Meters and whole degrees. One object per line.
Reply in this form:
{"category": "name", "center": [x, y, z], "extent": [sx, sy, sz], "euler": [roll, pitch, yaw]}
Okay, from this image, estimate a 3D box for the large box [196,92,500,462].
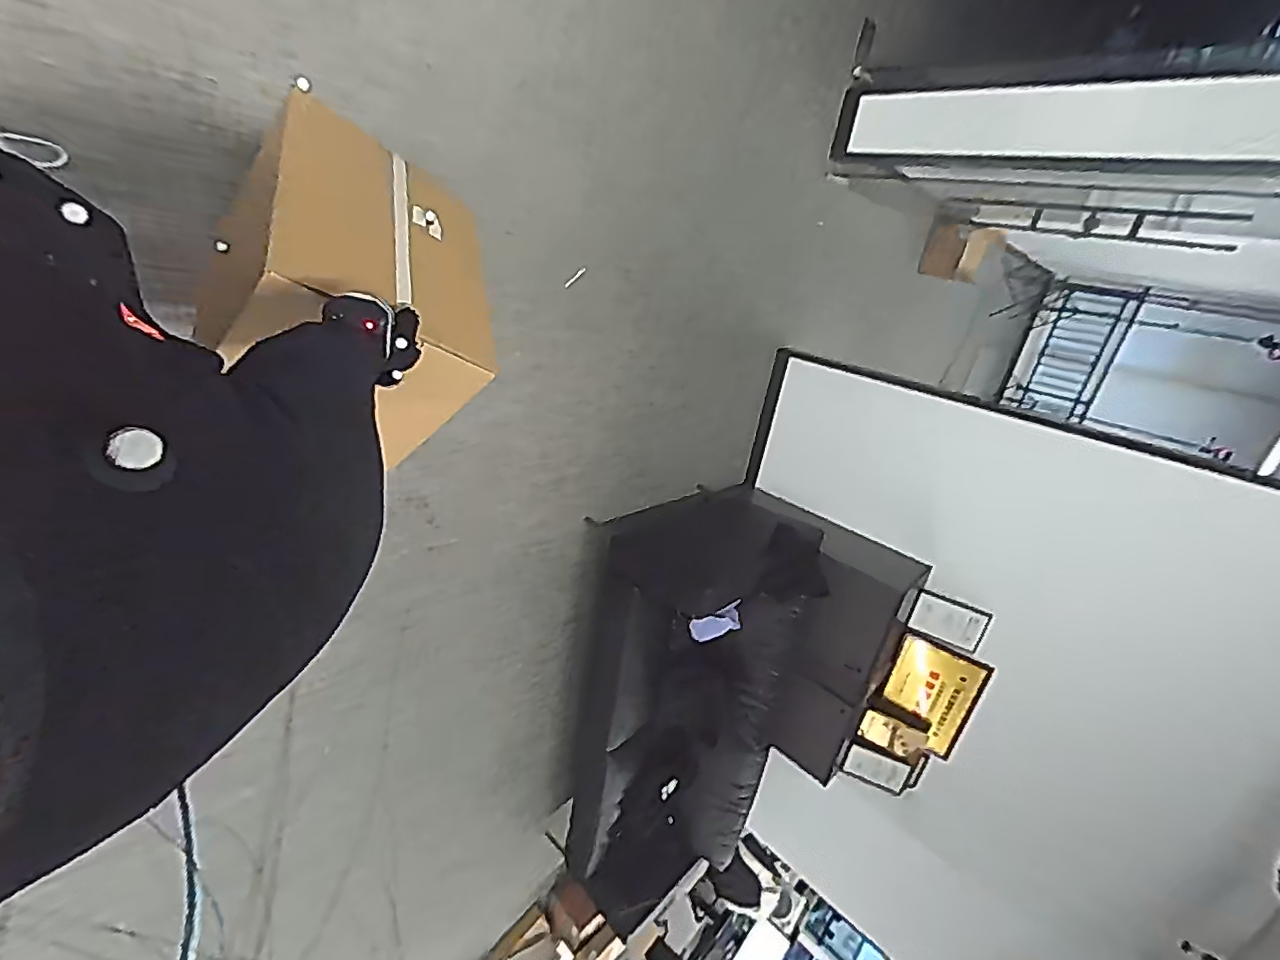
{"category": "large box", "center": [-0.468, -0.295, 0.881], "extent": [0.320, 0.408, 0.320], "euler": [-32, 148, 28]}
